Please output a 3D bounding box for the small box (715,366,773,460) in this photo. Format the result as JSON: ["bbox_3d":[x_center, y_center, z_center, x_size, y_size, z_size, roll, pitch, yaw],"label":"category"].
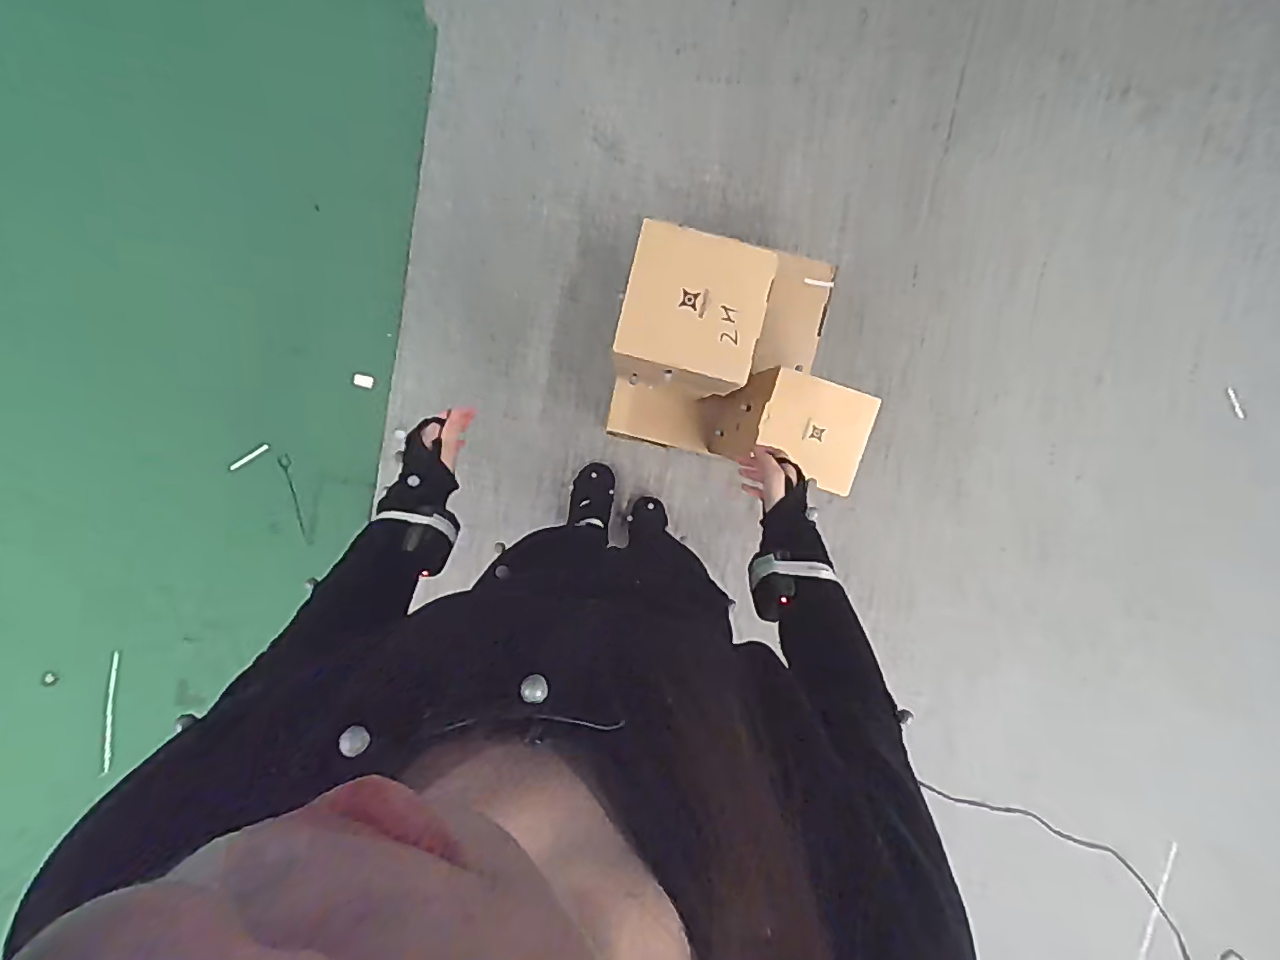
[{"bbox_3d":[0.258,-0.113,1.087,0.168,0.176,0.179,17,94,-5],"label":"small box"}]

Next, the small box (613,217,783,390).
[{"bbox_3d":[0.069,-0.226,0.739,0.179,0.176,0.168,15,95,-2],"label":"small box"}]

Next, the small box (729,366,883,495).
[{"bbox_3d":[0.272,-0.086,0.927,0.179,0.176,0.168,17,95,-4],"label":"small box"}]

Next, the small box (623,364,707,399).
[{"bbox_3d":[0.066,-0.269,1.067,0.168,0.176,0.179,17,94,-2],"label":"small box"}]
